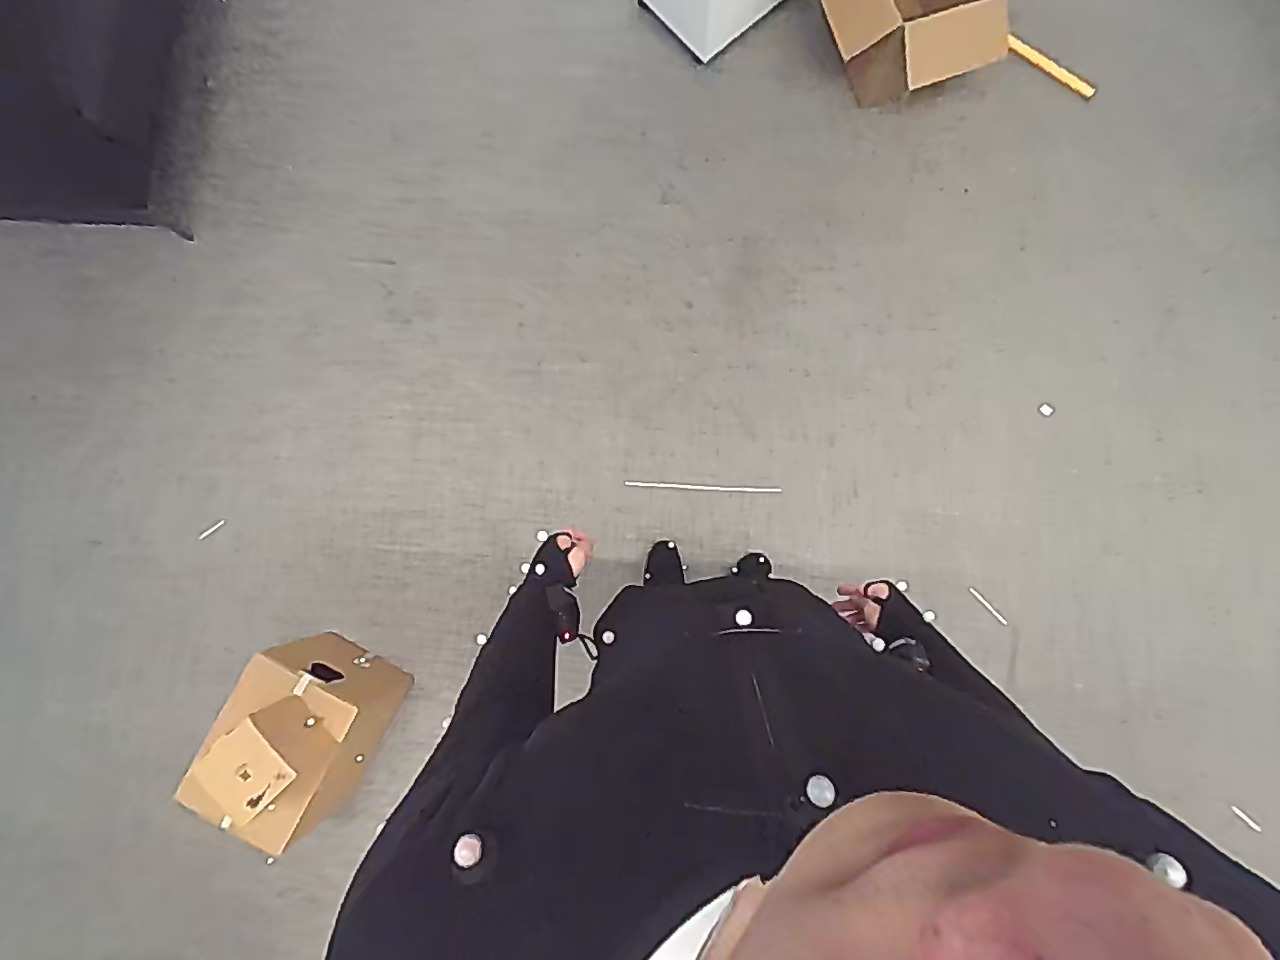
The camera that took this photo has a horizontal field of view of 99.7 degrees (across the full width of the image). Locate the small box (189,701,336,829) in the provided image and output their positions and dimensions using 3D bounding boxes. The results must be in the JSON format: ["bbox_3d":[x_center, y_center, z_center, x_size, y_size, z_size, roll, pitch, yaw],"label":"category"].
[{"bbox_3d":[-0.849,0.632,1.234,0.168,0.176,0.179,-43,85,-3],"label":"small box"}]

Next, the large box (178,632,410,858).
[{"bbox_3d":[-0.909,0.685,1.478,0.320,0.320,0.408,27,86,5],"label":"large box"}]
